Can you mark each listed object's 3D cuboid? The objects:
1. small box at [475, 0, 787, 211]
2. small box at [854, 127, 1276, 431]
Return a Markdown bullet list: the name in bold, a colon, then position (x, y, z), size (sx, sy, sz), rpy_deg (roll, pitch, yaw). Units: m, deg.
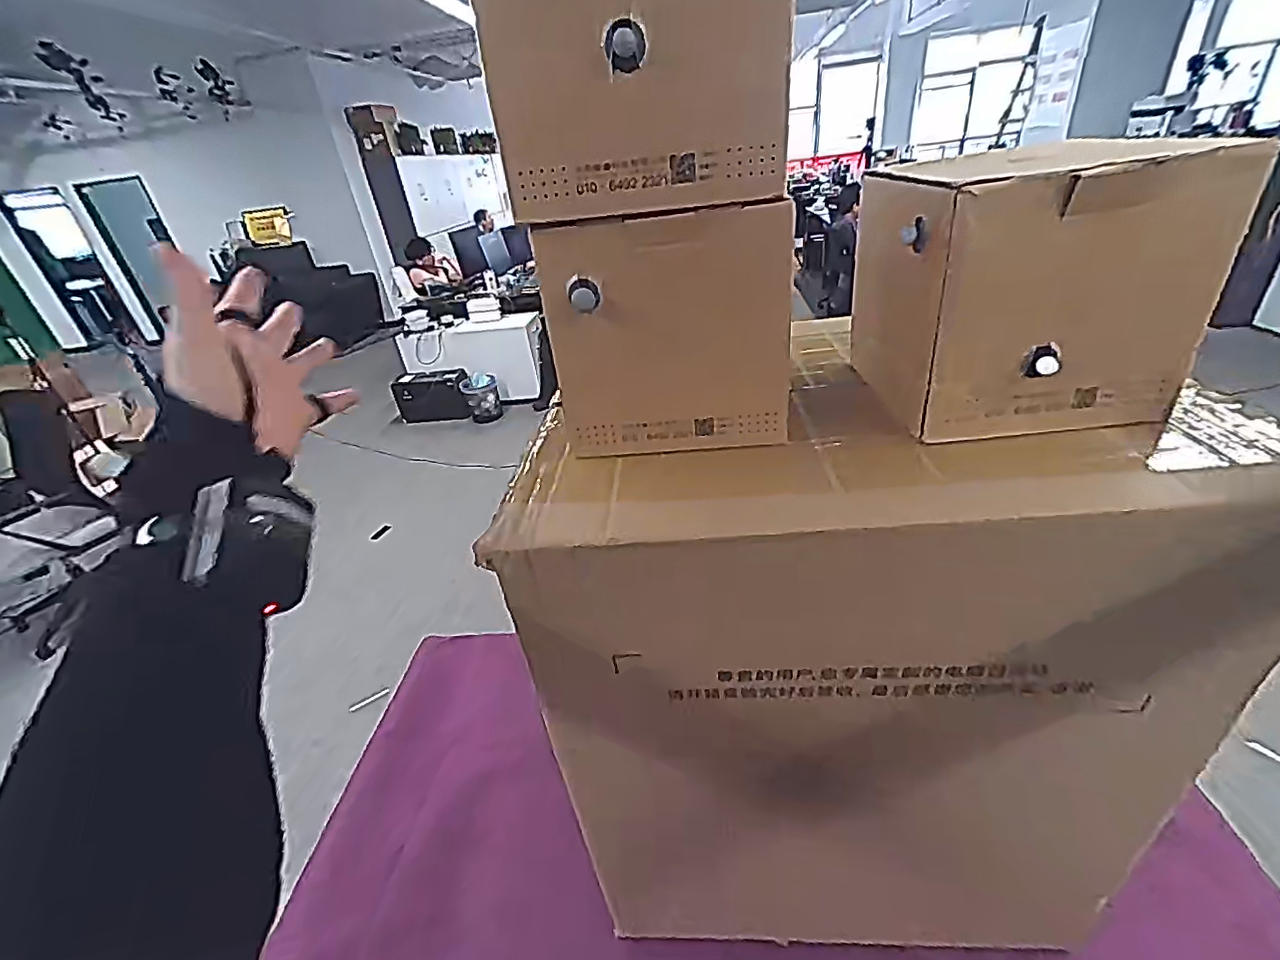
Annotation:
- **small box**: position (-0.002, -0.277, 0.353), size (0.168, 0.176, 0.179), rpy_deg (-4, 31, 2)
- **small box**: position (0.271, -0.152, 0.407), size (0.168, 0.176, 0.179), rpy_deg (-6, 31, 5)
